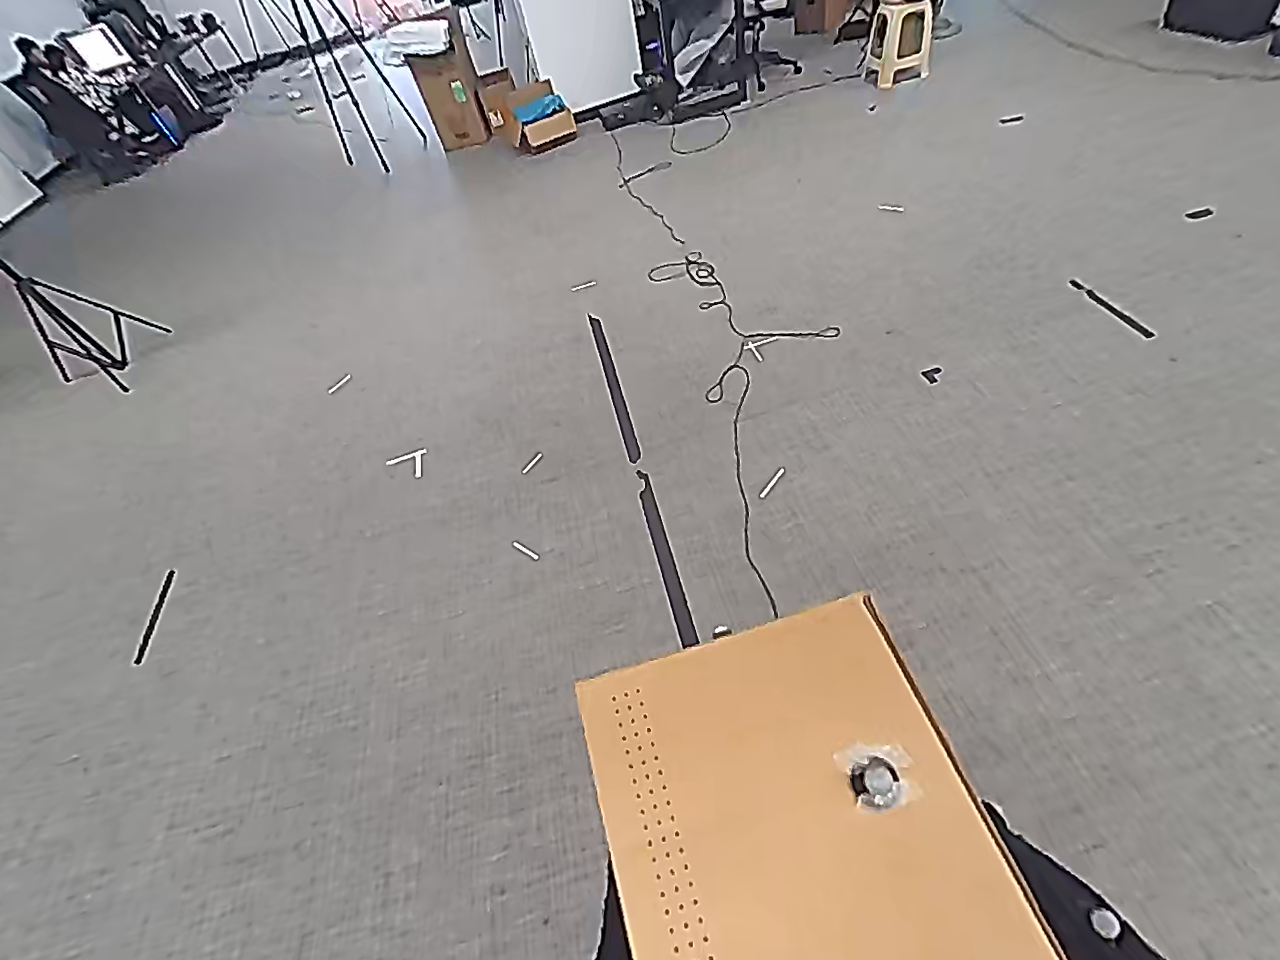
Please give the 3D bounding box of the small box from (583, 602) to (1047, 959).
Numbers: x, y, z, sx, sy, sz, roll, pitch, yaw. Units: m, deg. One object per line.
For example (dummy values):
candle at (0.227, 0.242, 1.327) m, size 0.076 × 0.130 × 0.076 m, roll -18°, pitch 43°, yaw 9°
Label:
small box at (0.073, 0.201, 0.322) m, size 0.176 × 0.168 × 0.179 m, roll -17°, pitch 59°, yaw -3°
